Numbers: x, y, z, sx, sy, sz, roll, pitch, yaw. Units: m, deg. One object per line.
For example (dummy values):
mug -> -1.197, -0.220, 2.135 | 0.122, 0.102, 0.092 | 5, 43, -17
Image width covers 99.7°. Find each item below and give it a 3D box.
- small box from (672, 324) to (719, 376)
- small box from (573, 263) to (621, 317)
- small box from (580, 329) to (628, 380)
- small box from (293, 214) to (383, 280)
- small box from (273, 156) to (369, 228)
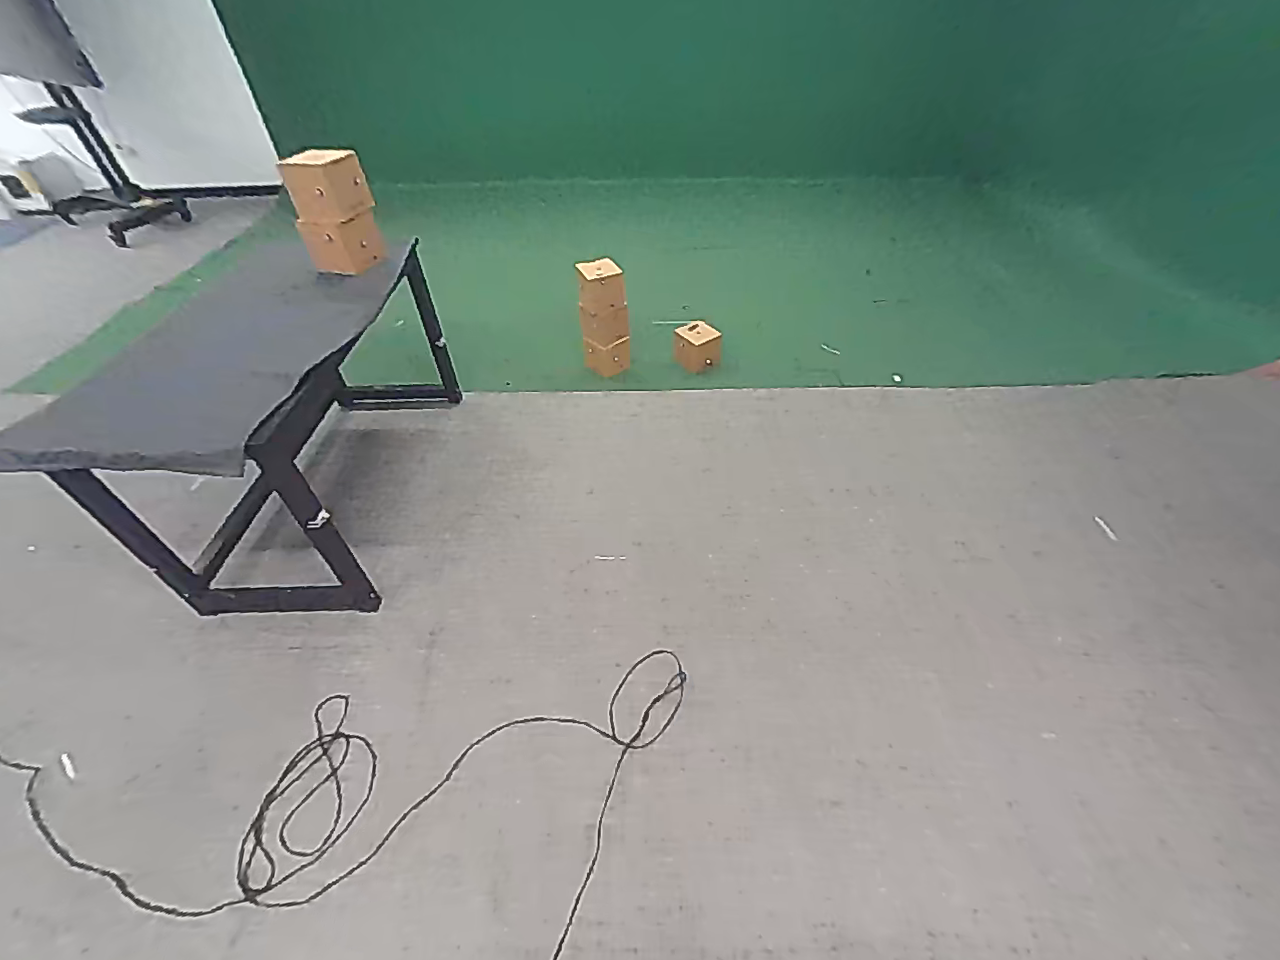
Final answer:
small box -> 0.269, -0.645, 2.687 | 0.168, 0.176, 0.179 | -29, 51, -25
small box -> -0.194, -0.867, 2.466 | 0.168, 0.176, 0.179 | -19, 47, -16
small box -> -0.176, -0.619, 2.681 | 0.168, 0.176, 0.179 | -35, 52, -29
small box -> -1.020, -0.799, 1.846 | 0.179, 0.176, 0.168 | 12, 46, 17
small box -> -1.017, -0.928, 1.746 | 0.179, 0.176, 0.168 | 8, 44, 14
